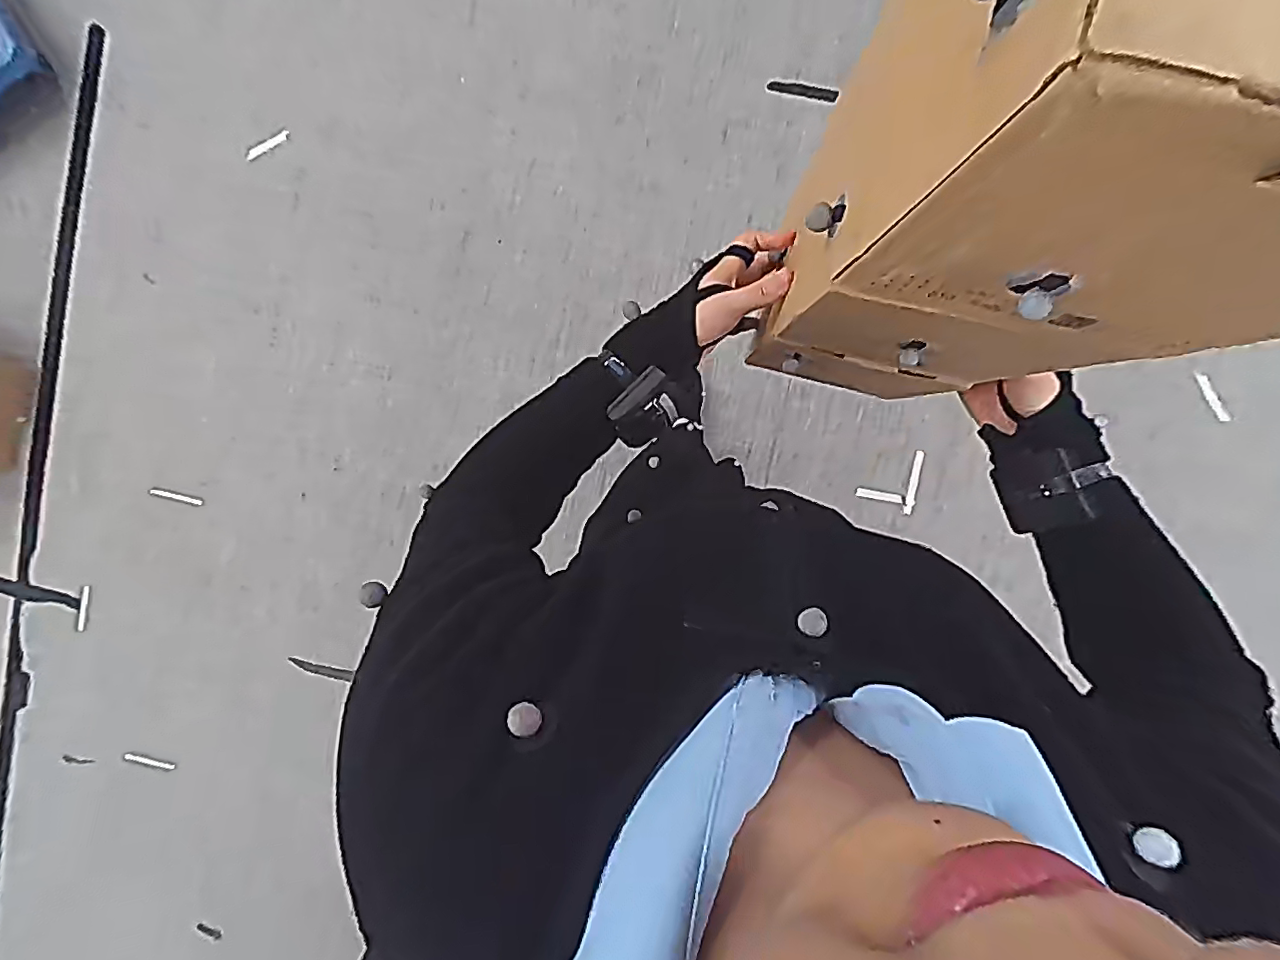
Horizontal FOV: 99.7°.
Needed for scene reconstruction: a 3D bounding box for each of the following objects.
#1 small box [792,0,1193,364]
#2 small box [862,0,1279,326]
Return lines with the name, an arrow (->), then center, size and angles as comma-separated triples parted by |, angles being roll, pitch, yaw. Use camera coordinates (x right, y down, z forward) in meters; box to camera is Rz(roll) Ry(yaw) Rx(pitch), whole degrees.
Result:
small box -> 0.204, -0.178, 0.329 | 0.168, 0.176, 0.179 | 13, 96, 1
small box -> 0.192, -0.163, 0.167 | 0.168, 0.176, 0.179 | 13, 97, 2
